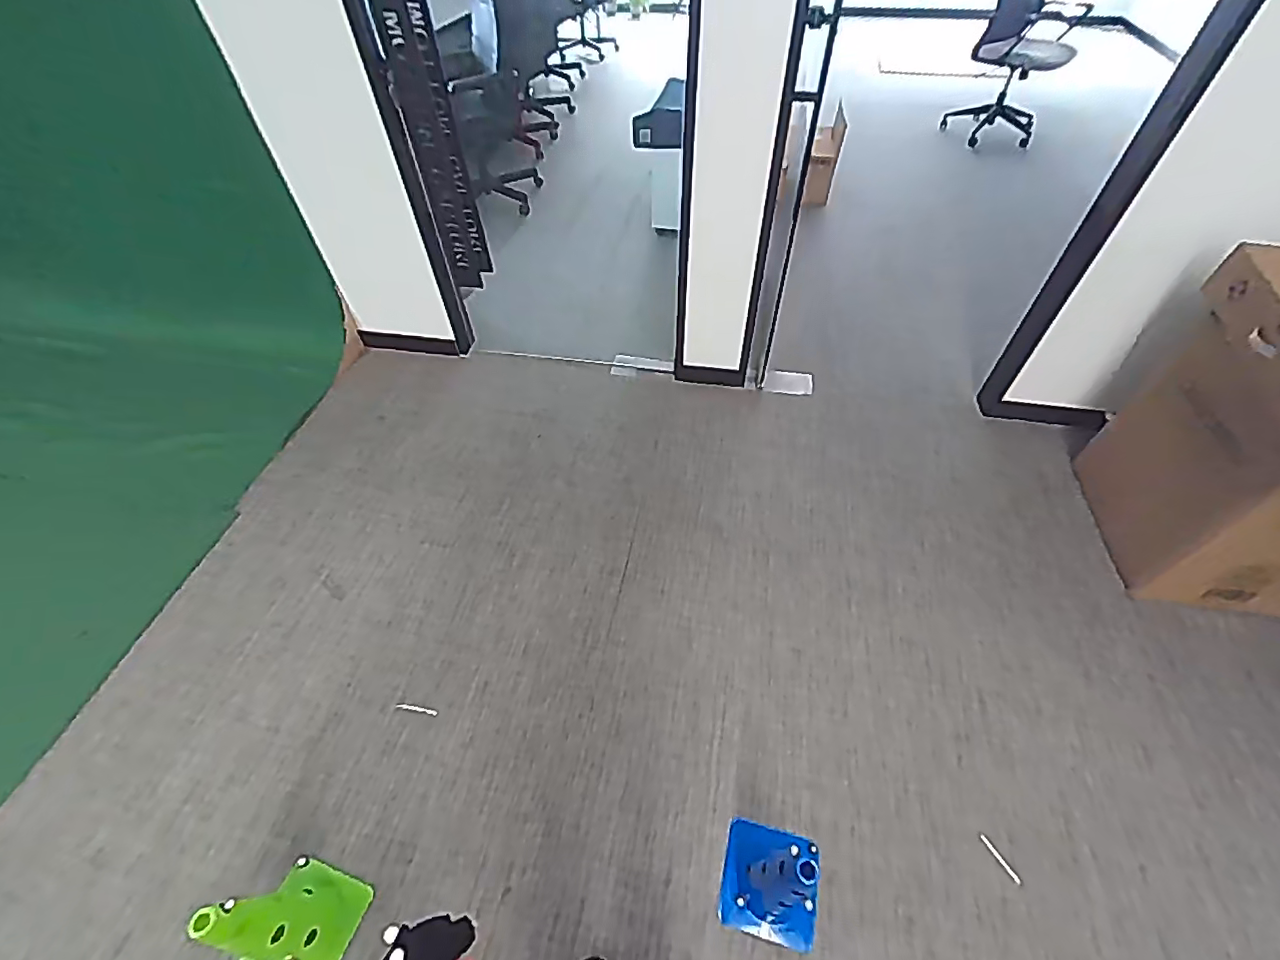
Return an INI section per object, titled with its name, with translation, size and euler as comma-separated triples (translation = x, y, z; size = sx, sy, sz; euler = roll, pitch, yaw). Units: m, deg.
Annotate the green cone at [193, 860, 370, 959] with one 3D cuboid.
[green cone]
translation = -0.699, 0.825, 0.997
size = 0.202, 0.368, 0.200
euler = 13, 51, 12
